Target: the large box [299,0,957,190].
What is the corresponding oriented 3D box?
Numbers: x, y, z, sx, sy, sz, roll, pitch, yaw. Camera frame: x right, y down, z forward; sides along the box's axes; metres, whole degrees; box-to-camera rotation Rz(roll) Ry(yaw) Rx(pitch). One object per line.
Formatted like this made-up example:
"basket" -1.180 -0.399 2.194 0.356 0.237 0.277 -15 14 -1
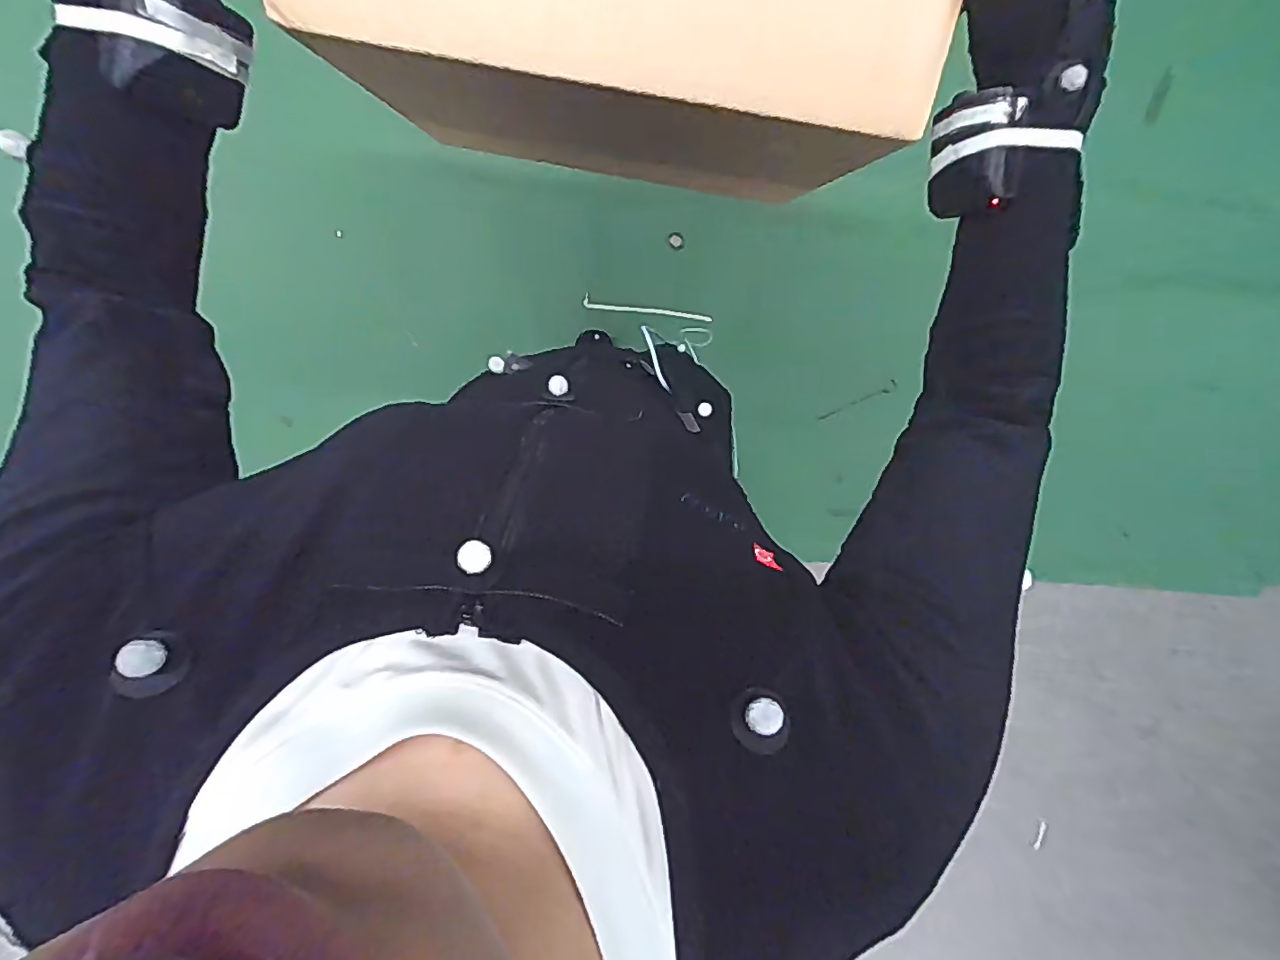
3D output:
"large box" 0.003 -0.449 0.426 0.408 0.320 0.320 7 111 -6
